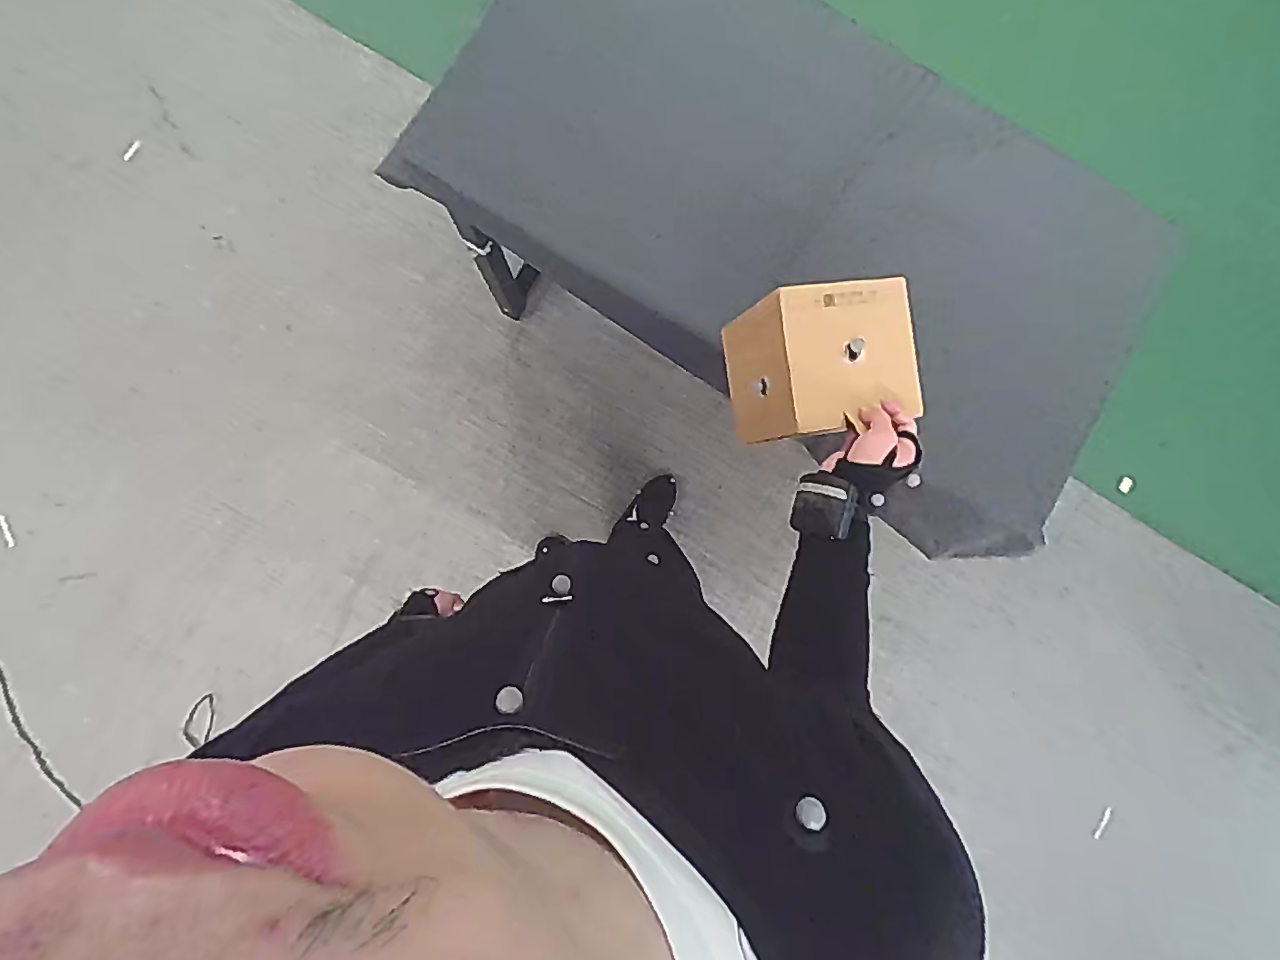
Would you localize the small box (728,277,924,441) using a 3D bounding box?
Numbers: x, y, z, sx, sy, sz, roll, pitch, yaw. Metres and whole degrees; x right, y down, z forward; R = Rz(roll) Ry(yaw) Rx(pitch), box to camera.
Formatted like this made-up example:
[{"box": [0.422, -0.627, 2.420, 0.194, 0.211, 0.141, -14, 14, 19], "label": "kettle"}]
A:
[{"box": [0.225, -0.152, 0.698, 0.168, 0.179, 0.176, -11, 93, -10], "label": "small box"}]
